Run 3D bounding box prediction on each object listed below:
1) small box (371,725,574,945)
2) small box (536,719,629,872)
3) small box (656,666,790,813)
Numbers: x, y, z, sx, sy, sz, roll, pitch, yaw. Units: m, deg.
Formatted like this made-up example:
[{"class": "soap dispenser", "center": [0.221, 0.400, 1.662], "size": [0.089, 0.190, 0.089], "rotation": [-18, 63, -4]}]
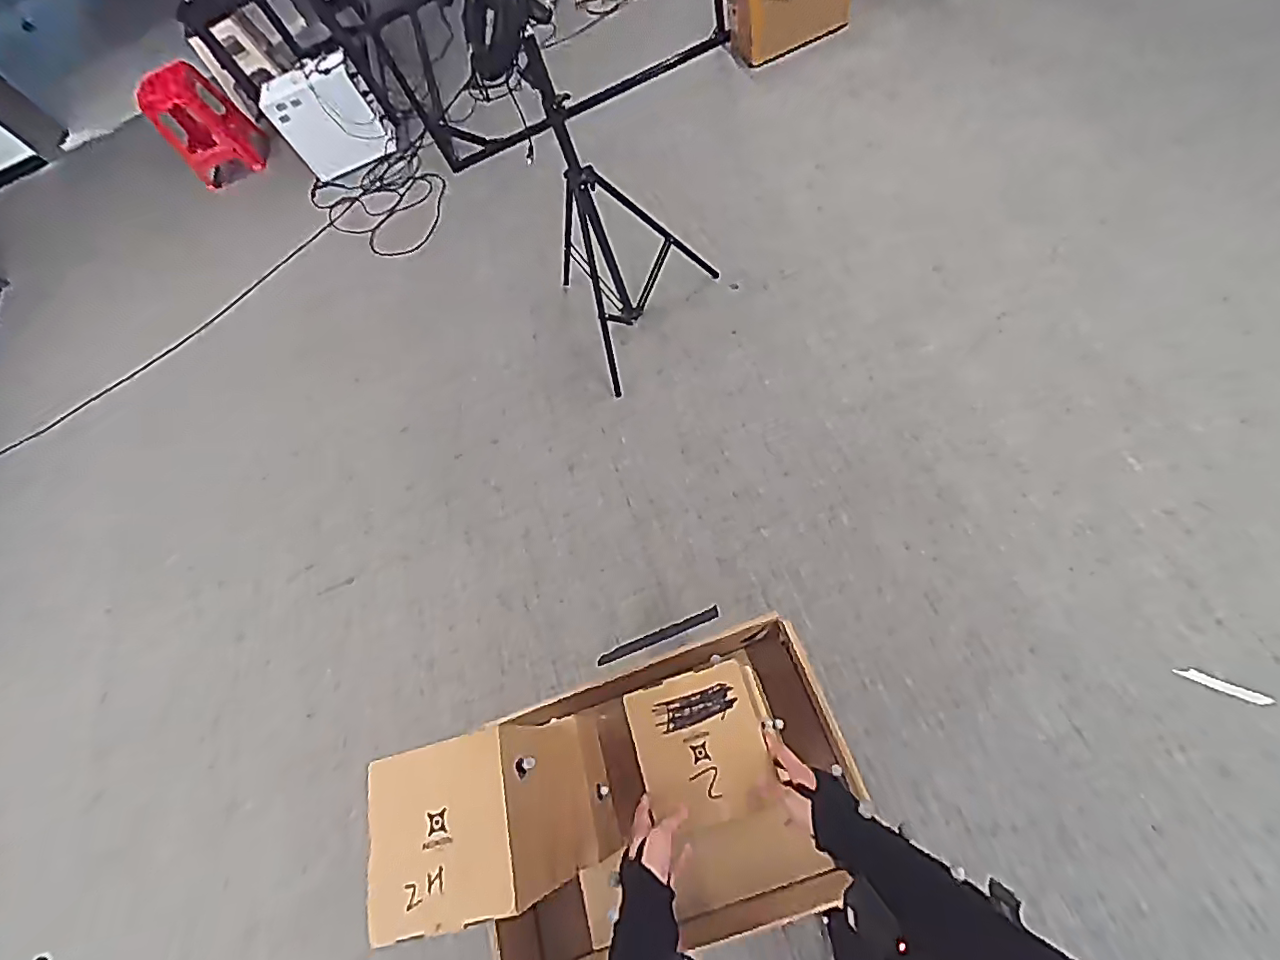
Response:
[{"class": "small box", "center": [-0.193, 0.406, 0.647], "size": [0.168, 0.176, 0.179], "rotation": [-18, 63, 7]}, {"class": "small box", "center": [-0.126, 0.461, 0.789], "size": [0.168, 0.176, 0.179], "rotation": [-19, 62, 6]}, {"class": "small box", "center": [0.142, 0.434, 0.914], "size": [0.168, 0.176, 0.179], "rotation": [-22, 63, 6]}]
